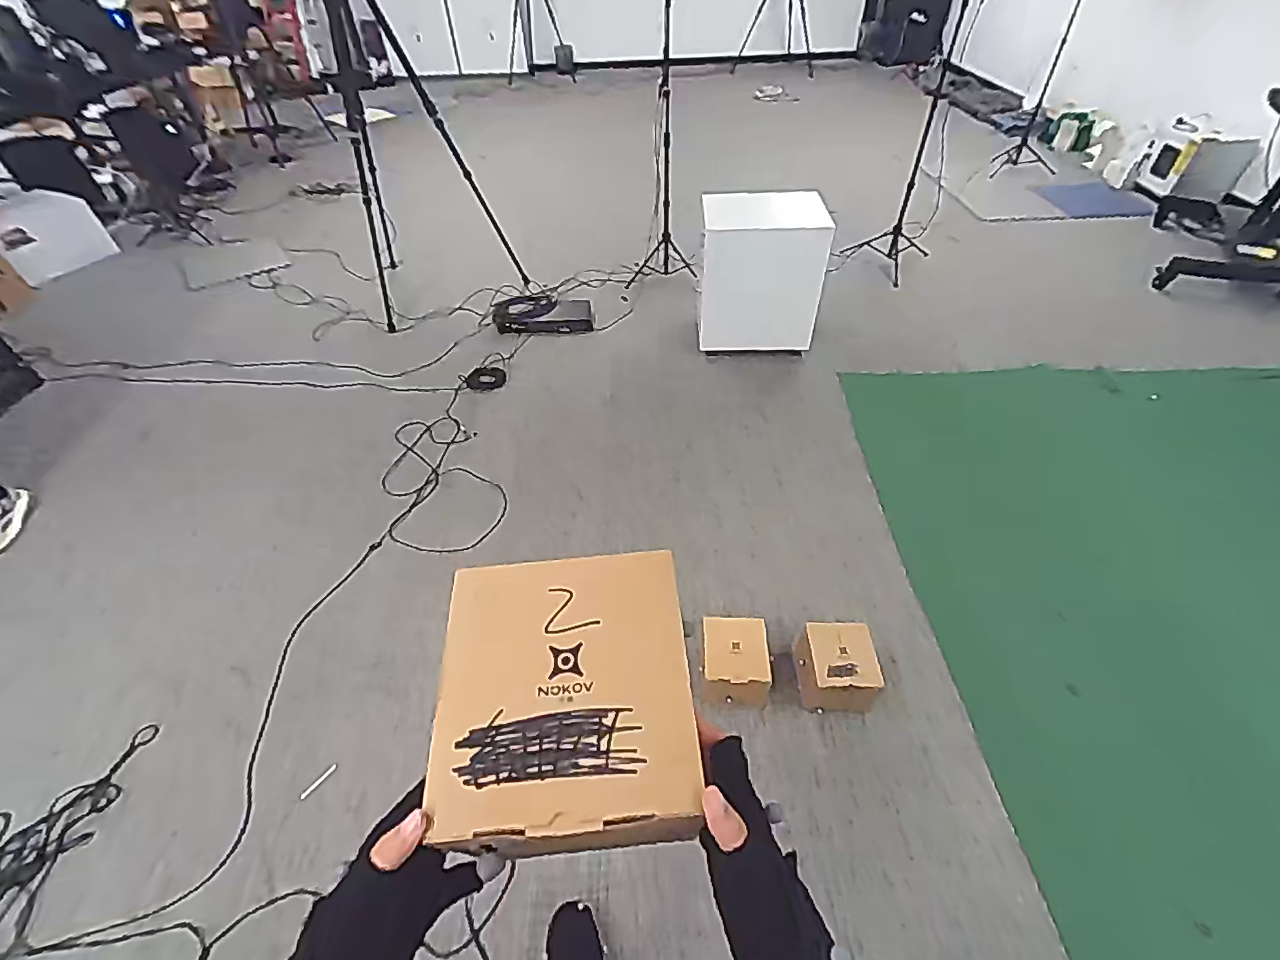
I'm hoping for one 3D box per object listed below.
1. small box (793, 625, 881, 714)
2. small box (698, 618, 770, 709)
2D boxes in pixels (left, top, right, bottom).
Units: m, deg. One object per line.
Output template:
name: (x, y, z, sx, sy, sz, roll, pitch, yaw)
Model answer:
small box: (0.511, 0.504, 1.430, 0.168, 0.176, 0.179, 1, 46, 2)
small box: (0.243, 0.492, 1.449, 0.168, 0.176, 0.179, 1, 47, 2)
